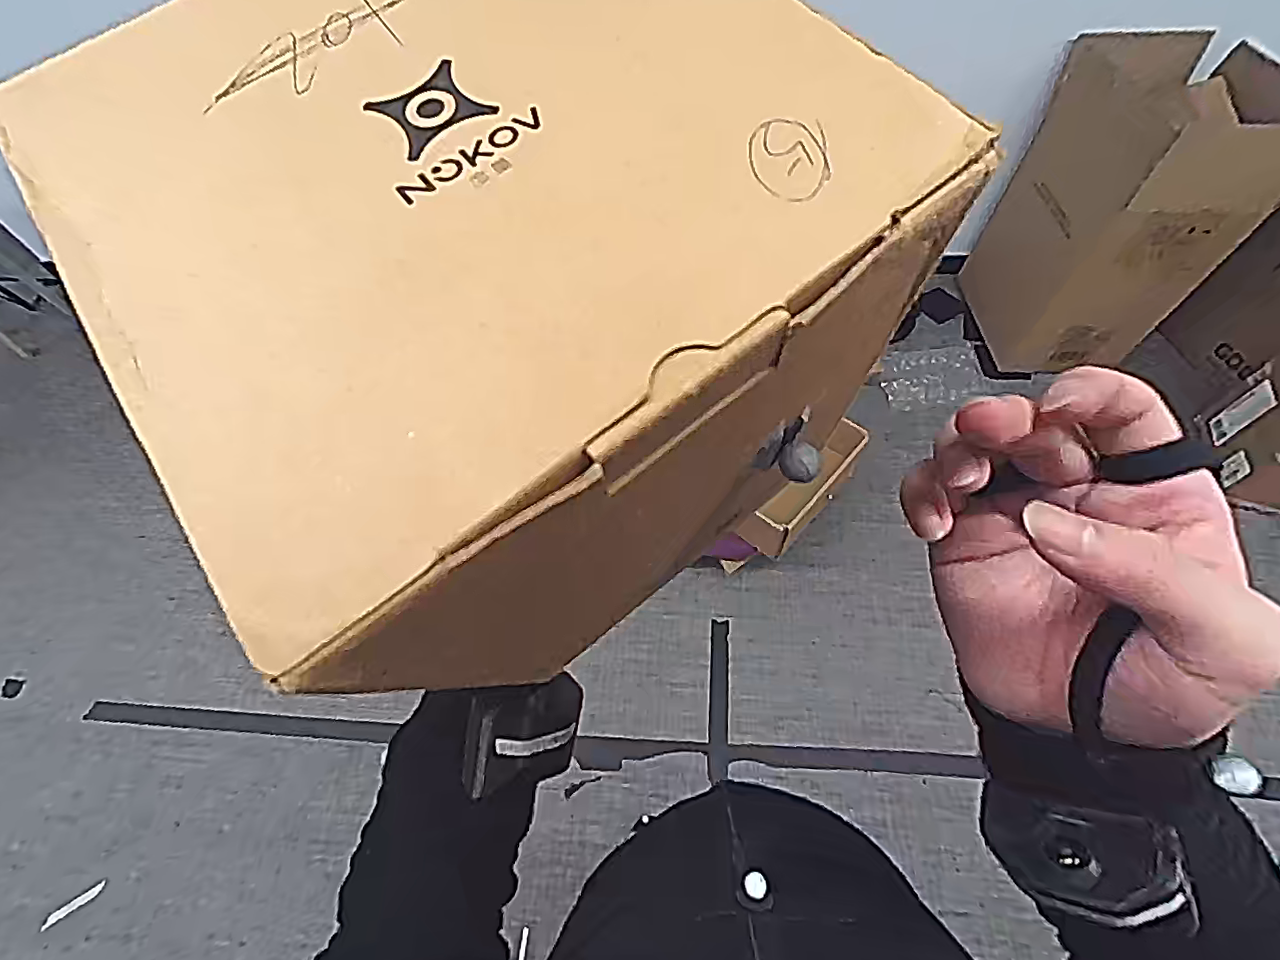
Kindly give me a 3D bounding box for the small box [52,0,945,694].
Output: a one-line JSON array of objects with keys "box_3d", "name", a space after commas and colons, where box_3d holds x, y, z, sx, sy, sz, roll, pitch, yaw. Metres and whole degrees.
[{"box_3d": [-0.039, -0.044, 0.209, 0.168, 0.176, 0.179, -38, 71, -10], "name": "small box"}]
